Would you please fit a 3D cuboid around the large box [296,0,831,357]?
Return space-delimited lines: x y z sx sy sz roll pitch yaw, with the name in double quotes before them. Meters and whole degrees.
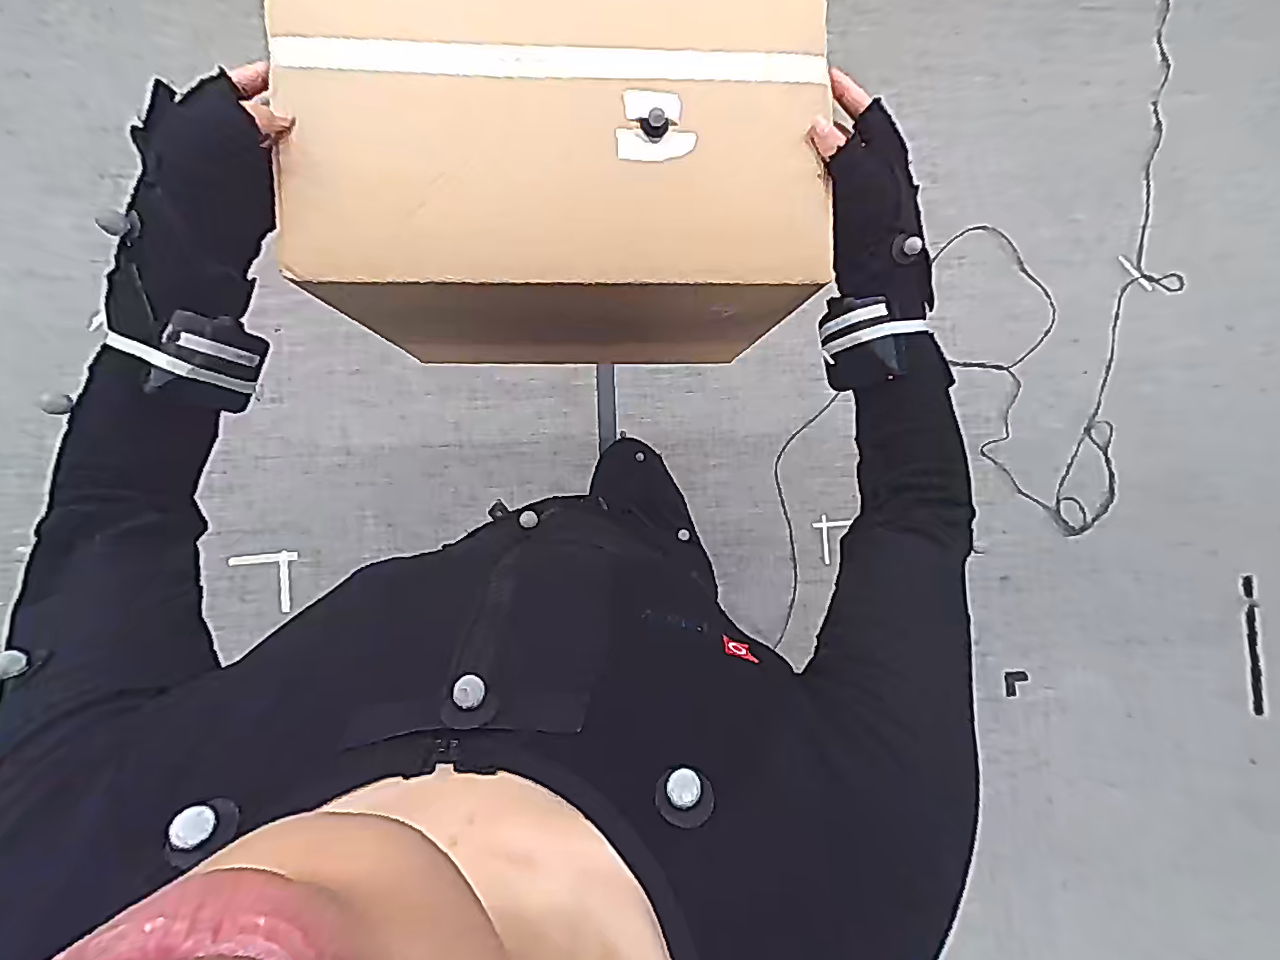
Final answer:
"large box" -0.066 -0.316 0.556 0.408 0.320 0.320 -2 92 -5
